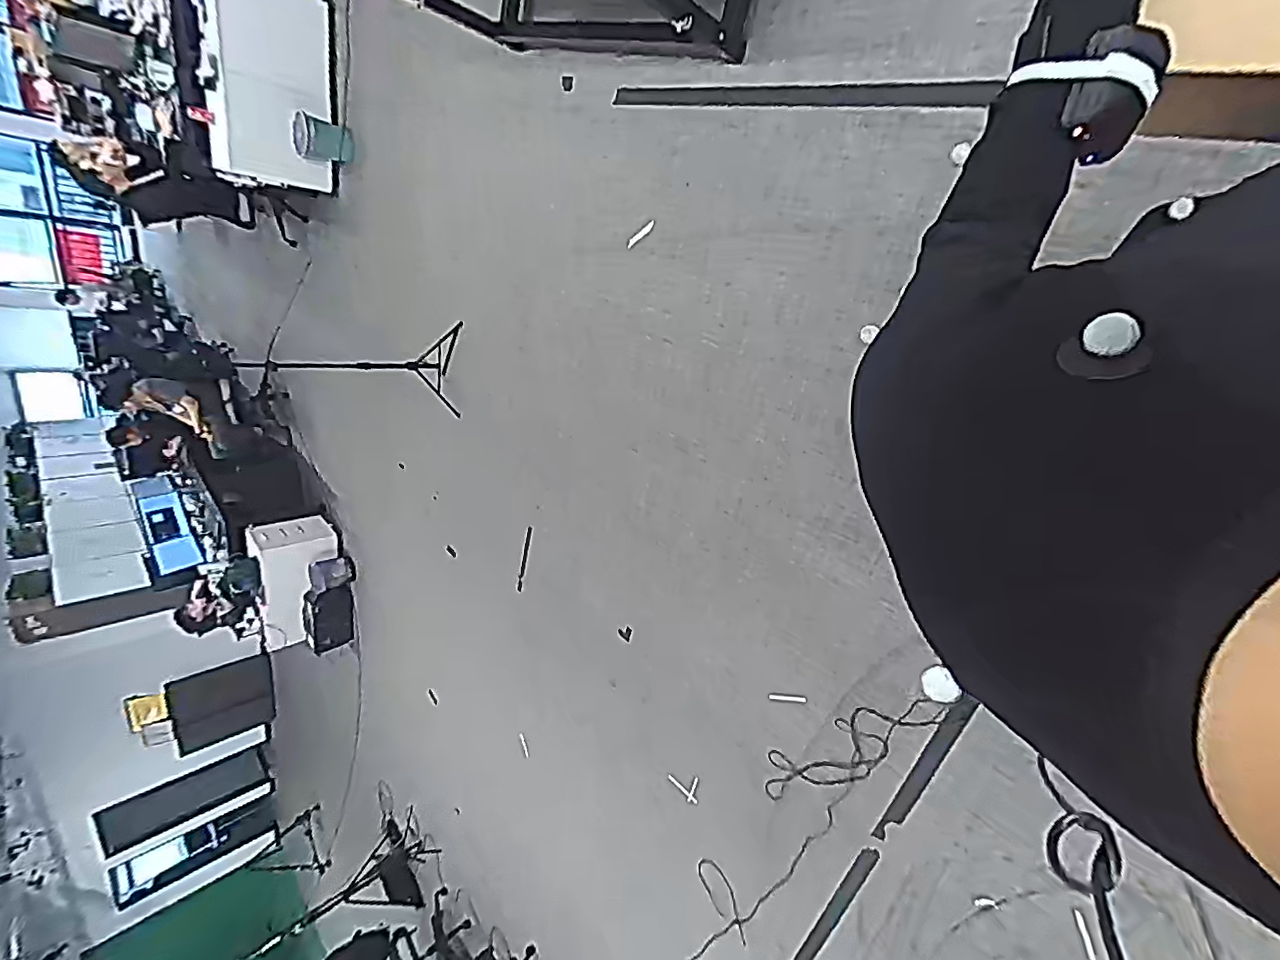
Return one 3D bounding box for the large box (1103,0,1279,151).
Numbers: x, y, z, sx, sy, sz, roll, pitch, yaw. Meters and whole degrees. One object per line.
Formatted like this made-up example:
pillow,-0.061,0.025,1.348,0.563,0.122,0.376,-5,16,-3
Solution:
large box,0.613,-0.405,0.348,0.408,0.320,0.320,25,124,30
